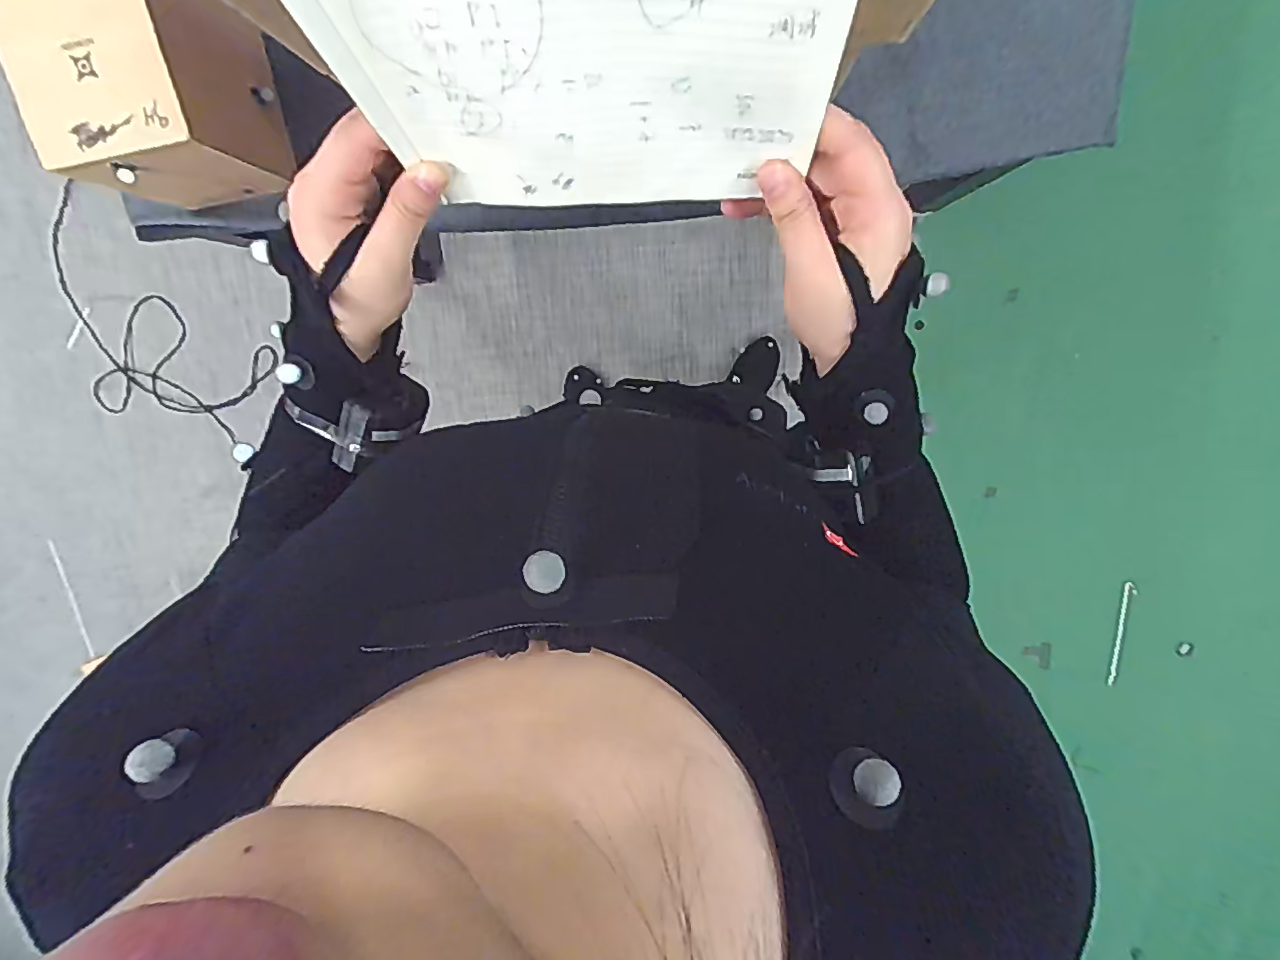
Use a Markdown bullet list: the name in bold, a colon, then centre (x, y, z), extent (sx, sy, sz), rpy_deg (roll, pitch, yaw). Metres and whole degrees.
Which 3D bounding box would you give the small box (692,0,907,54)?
- **small box**: centre (0.123, -0.437, 0.373), extent (0.179, 0.176, 0.168), rpy_deg (-4, 104, 6)

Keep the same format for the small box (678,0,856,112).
- **small box**: centre (0.132, -0.501, 0.525), extent (0.168, 0.176, 0.179), rpy_deg (13, 105, 2)

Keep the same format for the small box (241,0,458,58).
- **small box**: centre (-0.252, -0.463, 0.398), extent (0.179, 0.176, 0.168), rpy_deg (-16, 103, 9)

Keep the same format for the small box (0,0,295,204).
- **small box**: centre (-0.530, -0.431, 0.597), extent (0.168, 0.176, 0.179), rpy_deg (-8, 104, 6)

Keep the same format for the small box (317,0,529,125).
- **small box**: centre (-0.239, -0.507, 0.556), extent (0.179, 0.176, 0.168), rpy_deg (-19, 103, 9)
